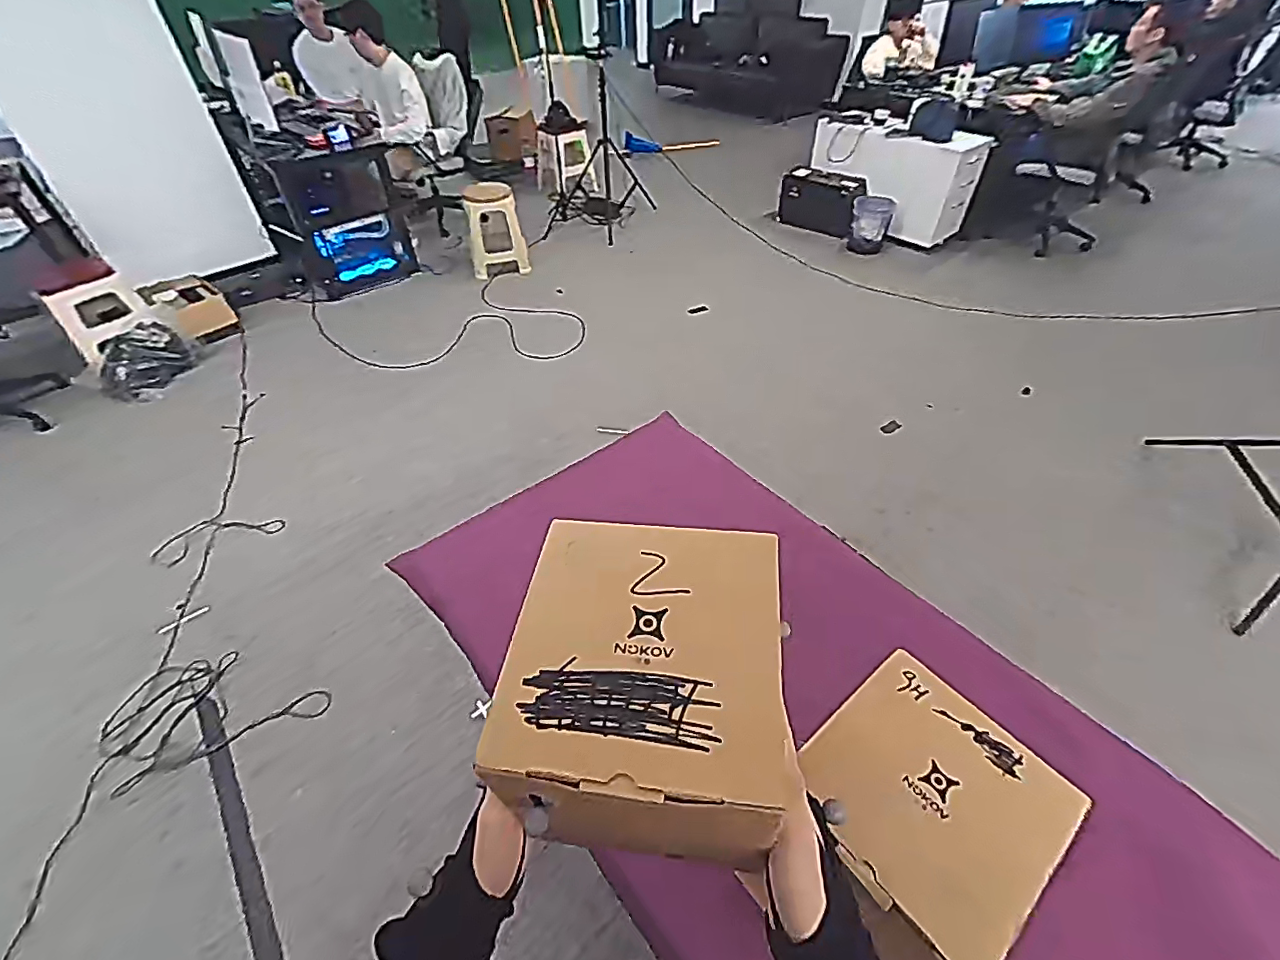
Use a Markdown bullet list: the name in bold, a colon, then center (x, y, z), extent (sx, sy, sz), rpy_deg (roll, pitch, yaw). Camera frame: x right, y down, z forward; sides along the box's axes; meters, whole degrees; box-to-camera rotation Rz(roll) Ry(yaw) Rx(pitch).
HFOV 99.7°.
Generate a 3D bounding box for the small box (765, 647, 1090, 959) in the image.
- **small box**: center (0.227, 0.292, 0.472), extent (0.179, 0.176, 0.168), rpy_deg (-30, 52, -26)

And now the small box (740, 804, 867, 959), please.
- **small box**: center (0.224, 0.410, 0.587), extent (0.179, 0.176, 0.168), rpy_deg (-30, 52, -27)
